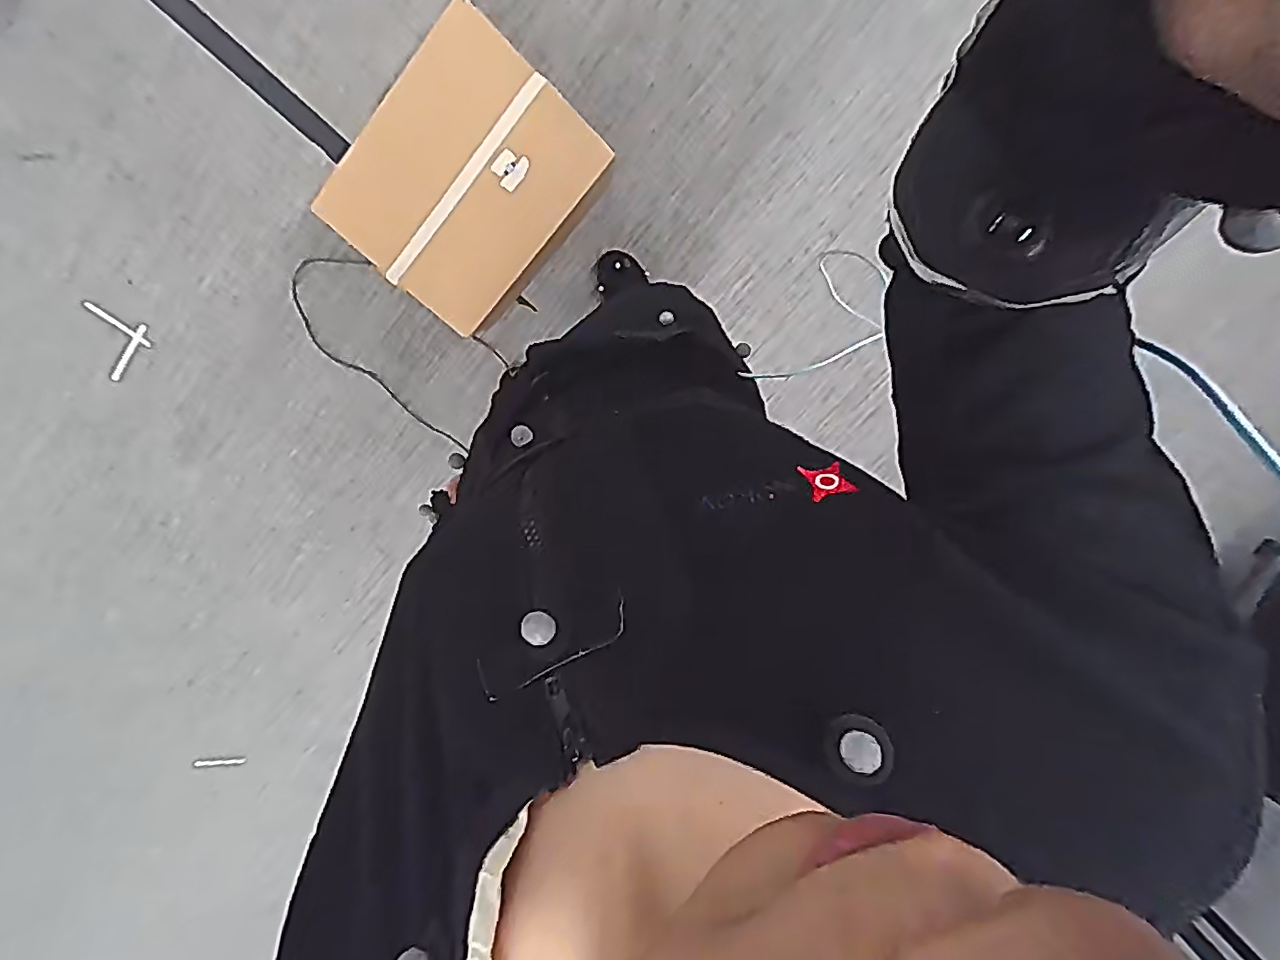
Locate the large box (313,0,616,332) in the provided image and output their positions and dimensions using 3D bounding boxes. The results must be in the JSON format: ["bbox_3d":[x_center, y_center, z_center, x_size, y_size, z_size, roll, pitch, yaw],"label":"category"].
[{"bbox_3d":[-0.293,-0.535,0.999,0.320,0.320,0.408,40,101,-18],"label":"large box"}]
